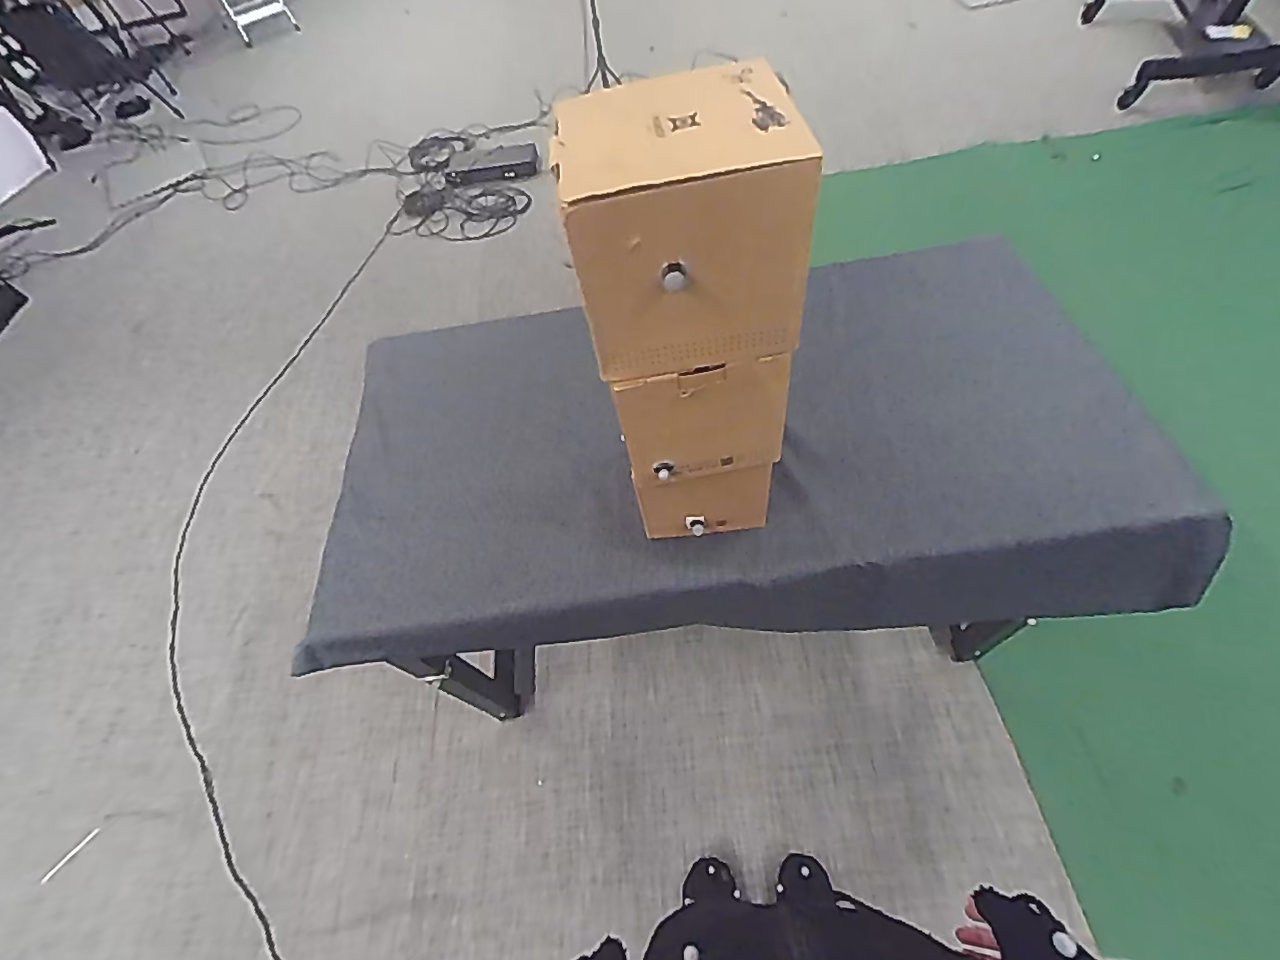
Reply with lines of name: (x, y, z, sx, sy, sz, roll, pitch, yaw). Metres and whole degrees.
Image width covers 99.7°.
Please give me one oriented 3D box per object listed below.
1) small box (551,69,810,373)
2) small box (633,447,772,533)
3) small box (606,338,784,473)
small box: (0.032, -0.216, 0.472, 0.179, 0.176, 0.168, -12, 54, 2)
small box: (0.079, -0.047, 0.746, 0.168, 0.176, 0.179, -9, 57, 5)
small box: (0.052, -0.125, 0.604, 0.168, 0.176, 0.179, -14, 56, 1)
